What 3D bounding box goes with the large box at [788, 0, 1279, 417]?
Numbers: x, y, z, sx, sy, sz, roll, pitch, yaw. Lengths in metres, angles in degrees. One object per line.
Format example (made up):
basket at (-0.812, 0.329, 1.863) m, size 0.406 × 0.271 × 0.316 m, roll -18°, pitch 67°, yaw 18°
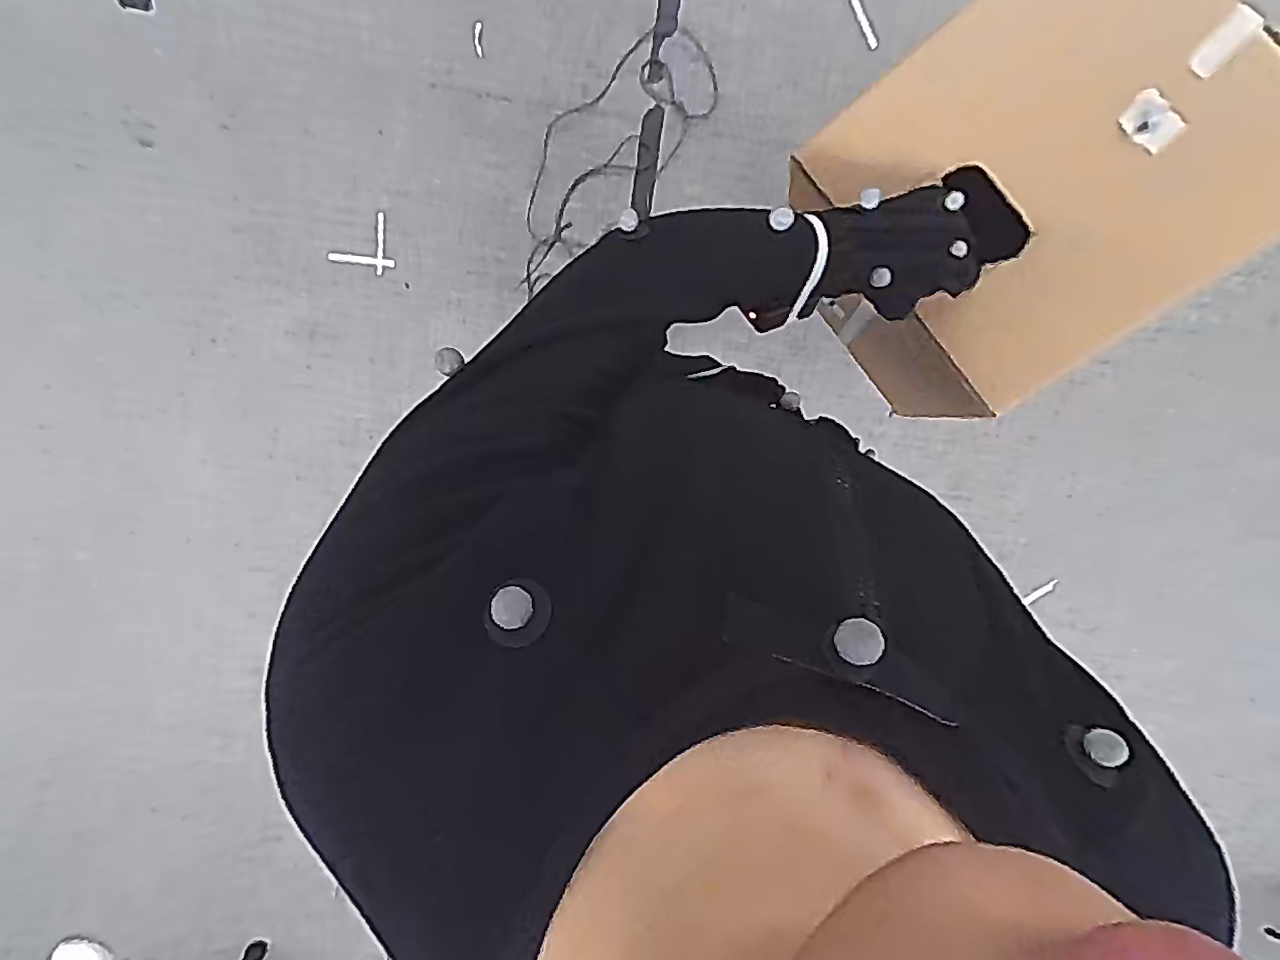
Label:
large box at (0.402, -0.291, 0.659) m, size 0.320 × 0.408 × 0.320 m, roll -37°, pitch 86°, yaw 17°
